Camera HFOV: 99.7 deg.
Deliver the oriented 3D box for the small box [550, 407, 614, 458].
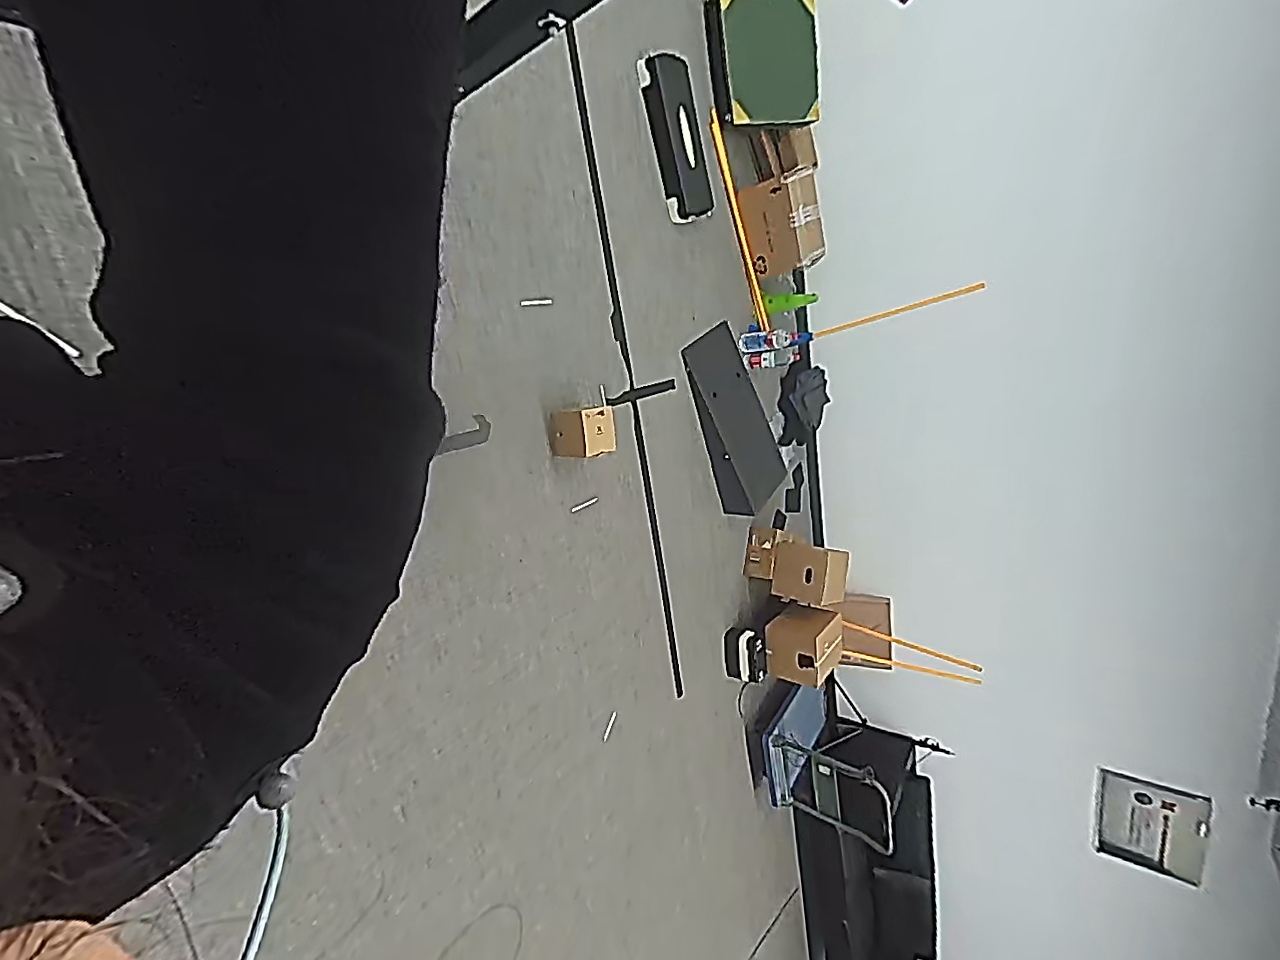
[{"bbox_3d":[-0.222,-0.184,2.060,0.168,0.176,0.179,-18,108,-50],"label":"small box"}]
